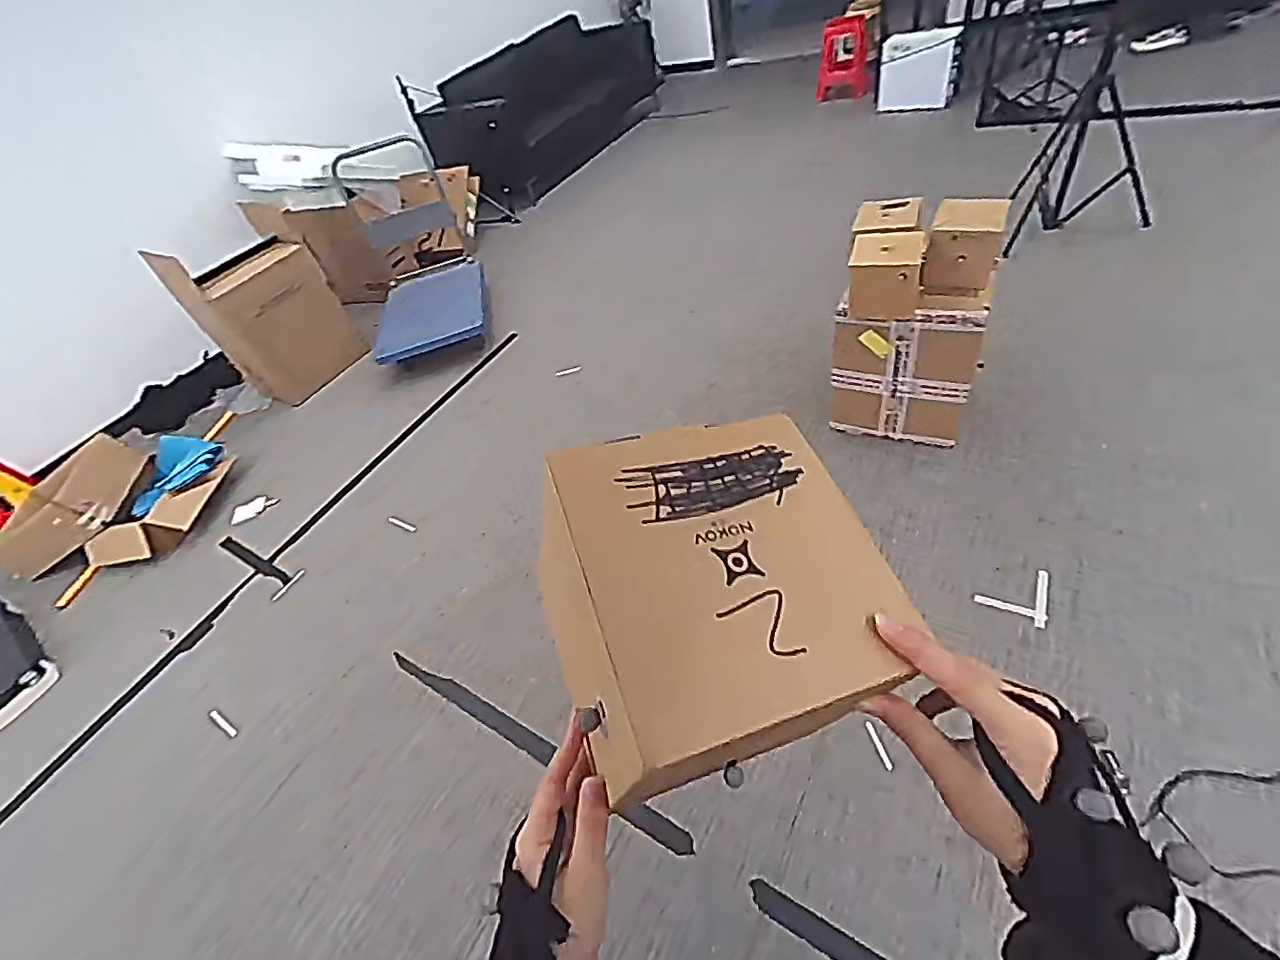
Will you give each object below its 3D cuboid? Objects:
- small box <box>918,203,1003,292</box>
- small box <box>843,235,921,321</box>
[{"bbox_3d":[0.895,-0.654,1.514,0.168,0.176,0.179,15,55,25],"label":"small box"},{"bbox_3d":[0.671,-0.559,1.508,0.179,0.176,0.168,9,54,24],"label":"small box"}]
